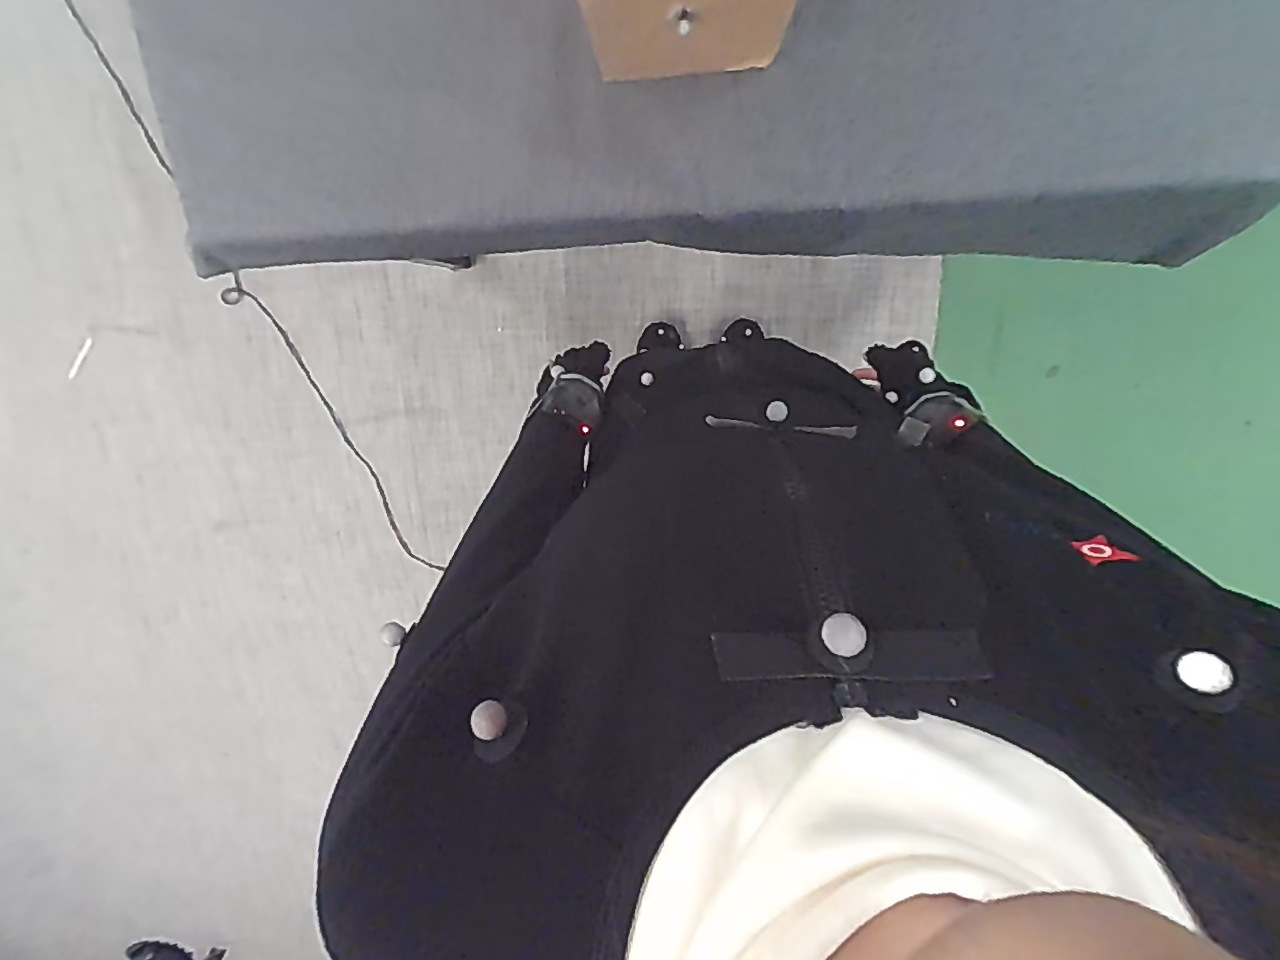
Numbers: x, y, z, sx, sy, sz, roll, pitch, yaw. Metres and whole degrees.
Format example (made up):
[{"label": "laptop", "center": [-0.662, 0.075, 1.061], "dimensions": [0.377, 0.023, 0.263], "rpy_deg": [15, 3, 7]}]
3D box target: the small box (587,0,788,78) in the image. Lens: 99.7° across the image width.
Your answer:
[{"label": "small box", "center": [0.040, -0.475, 0.464], "dimensions": [0.179, 0.176, 0.168], "rpy_deg": [-2, 108, 4]}]
